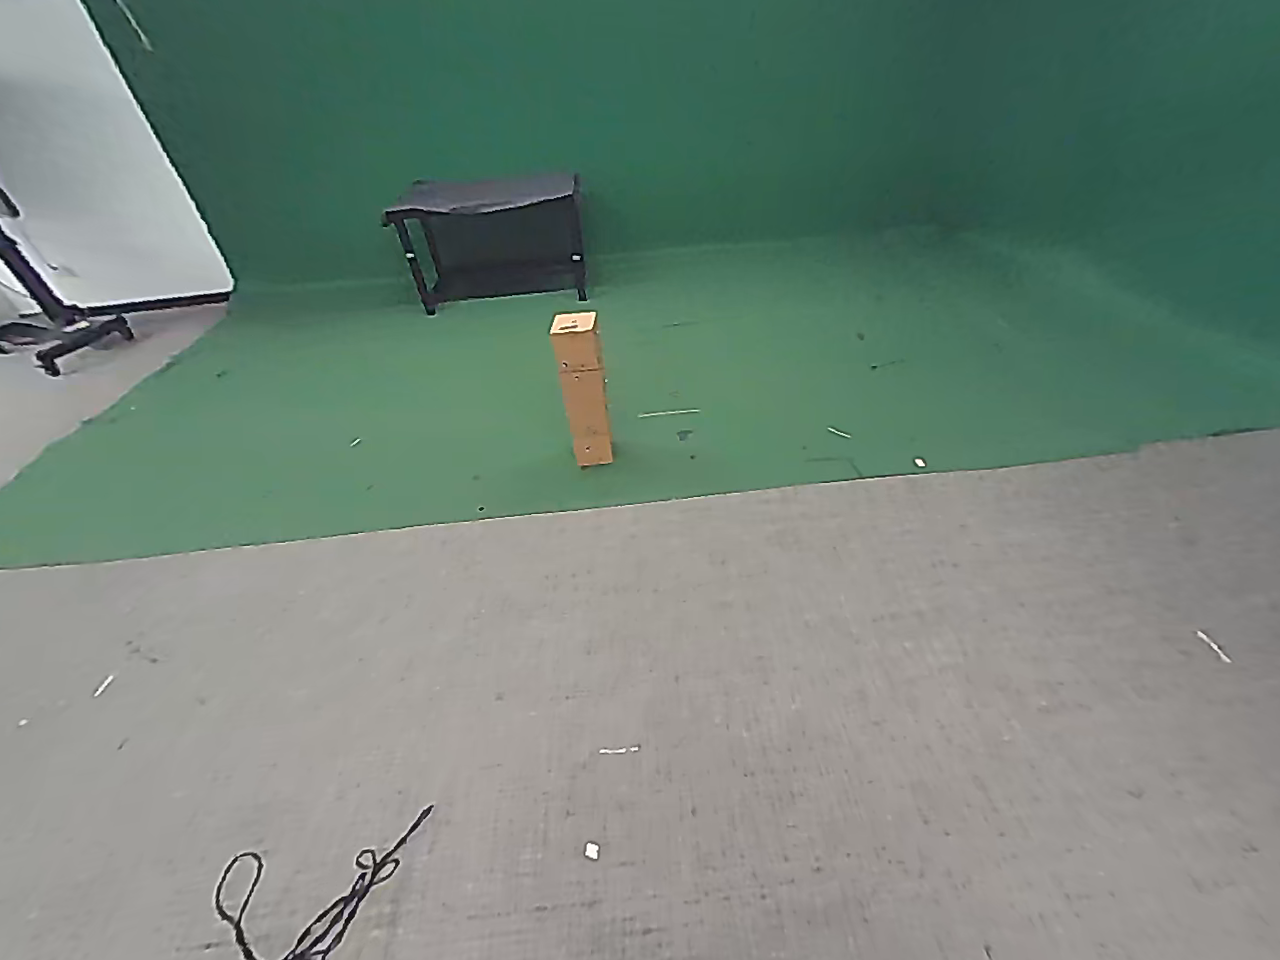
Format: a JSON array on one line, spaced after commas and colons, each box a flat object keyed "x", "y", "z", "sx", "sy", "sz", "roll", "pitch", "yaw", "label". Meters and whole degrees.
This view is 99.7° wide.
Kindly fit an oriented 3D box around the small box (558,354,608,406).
[{"x": -0.234, "y": -0.424, "z": 2.264, "sx": 0.179, "sy": 0.176, "sz": 0.168, "roll": -4, "pitch": 40, "yaw": 3, "label": "small box"}]

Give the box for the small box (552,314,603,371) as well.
[{"x": -0.243, "y": -0.542, "z": 2.151, "sx": 0.168, "sy": 0.176, "sz": 0.179, "roll": -3, "pitch": 39, "yaw": 5, "label": "small box"}]

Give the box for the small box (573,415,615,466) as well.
[{"x": -0.208, "y": -0.176, "z": 2.479, "sx": 0.168, "sy": 0.176, "sz": 0.179, "roll": -6, "pitch": 39, "yaw": 1, "label": "small box"}]
